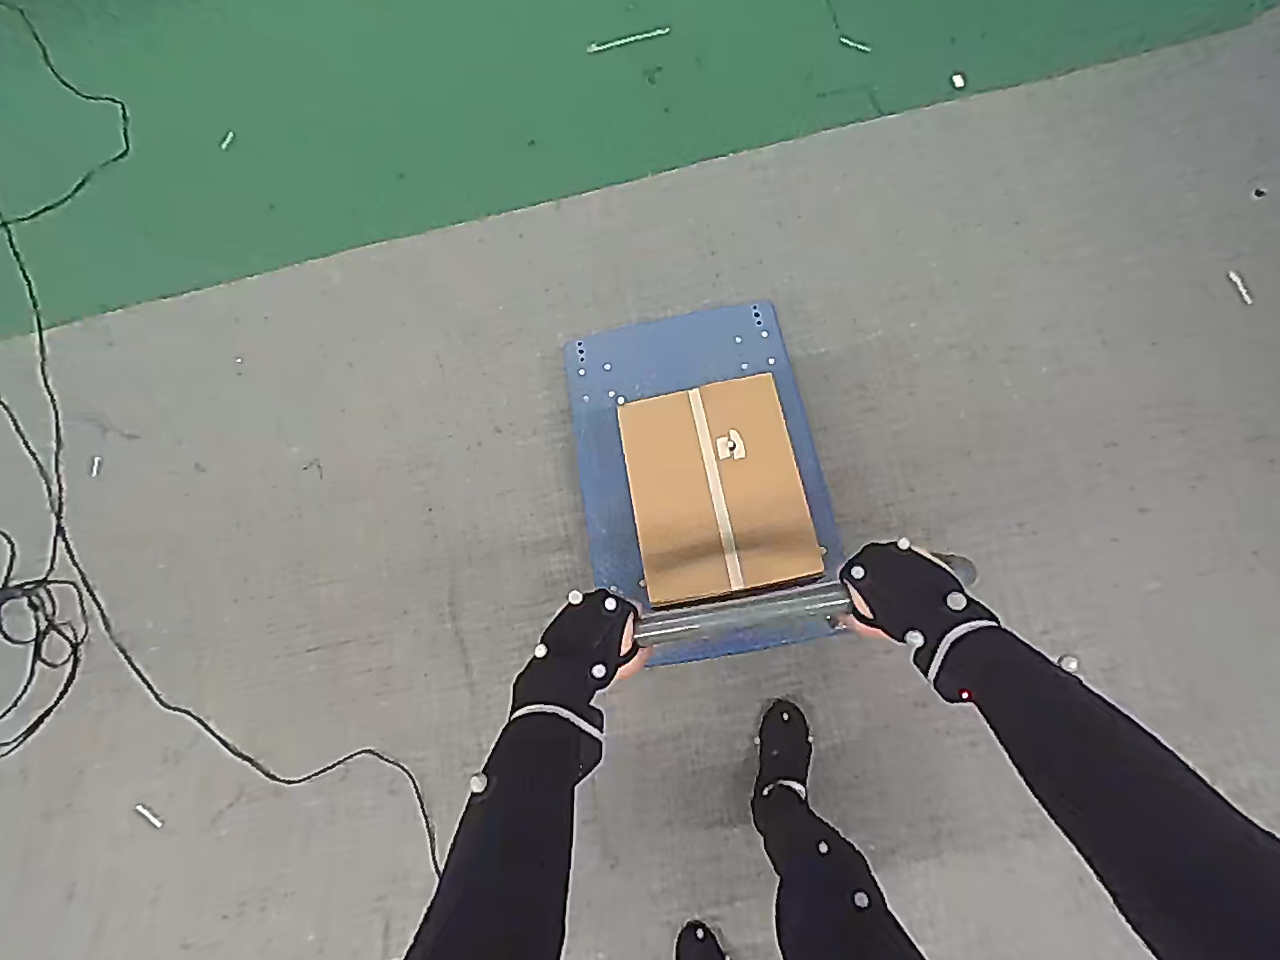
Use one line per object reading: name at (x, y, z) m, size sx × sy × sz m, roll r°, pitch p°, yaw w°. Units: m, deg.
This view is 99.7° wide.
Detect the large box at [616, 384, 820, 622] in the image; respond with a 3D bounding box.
large box at (0.157, 0.068, 1.162) m, size 0.320 × 0.320 × 0.408 m, roll -12°, pitch 71°, yaw 4°
